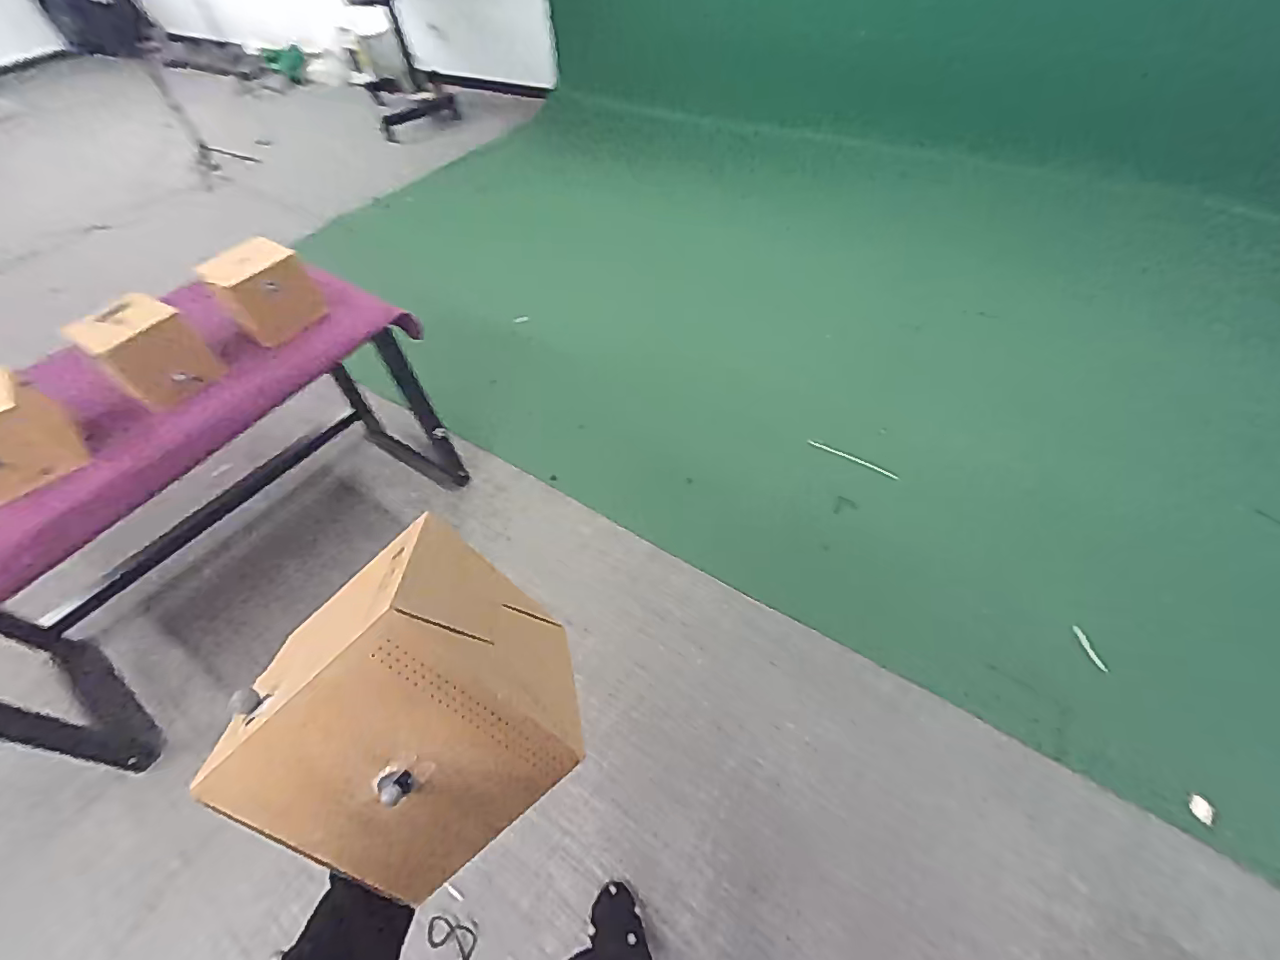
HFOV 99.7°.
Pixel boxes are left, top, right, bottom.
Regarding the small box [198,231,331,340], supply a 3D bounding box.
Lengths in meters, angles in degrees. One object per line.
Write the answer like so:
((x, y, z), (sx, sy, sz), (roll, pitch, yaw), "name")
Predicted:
((-0.898, -0.468, 1.309), (0.168, 0.176, 0.179), (29, 60, 26), "small box")

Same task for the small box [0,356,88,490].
((-1.242, -0.104, 1.055), (0.168, 0.176, 0.179), (-36, 57, -21), "small box")

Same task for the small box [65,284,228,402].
((-1.077, -0.299, 1.193), (0.179, 0.176, 0.168), (25, 58, 22), "small box")
